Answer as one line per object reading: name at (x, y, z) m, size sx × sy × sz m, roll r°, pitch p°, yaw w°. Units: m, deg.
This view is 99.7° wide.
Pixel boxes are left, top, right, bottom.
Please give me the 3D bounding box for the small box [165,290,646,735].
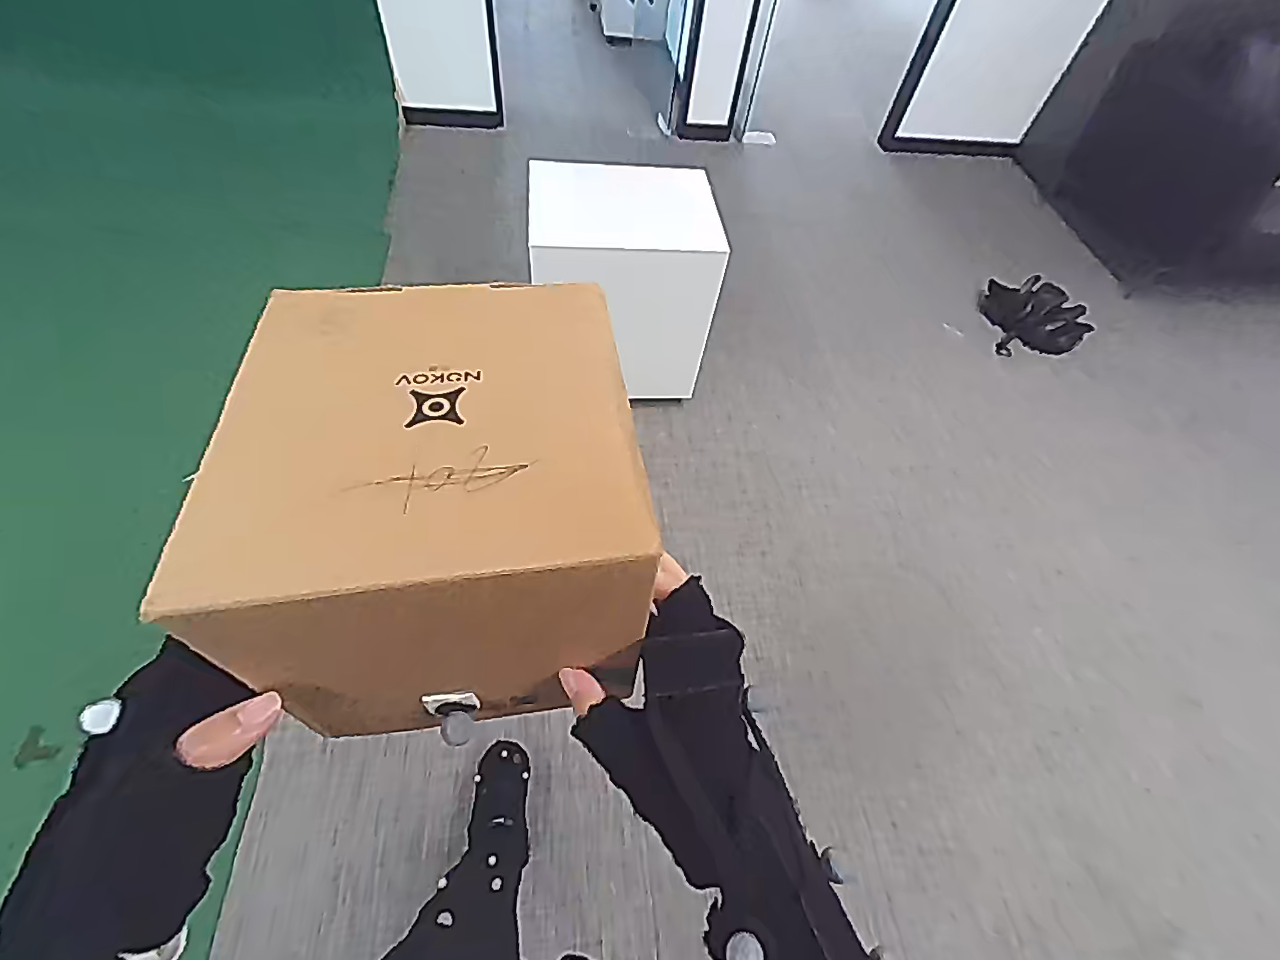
small box at (-0.096, 0.019, 0.302) m, size 0.168 × 0.176 × 0.179 m, roll -7°, pitch 53°, yaw -9°
